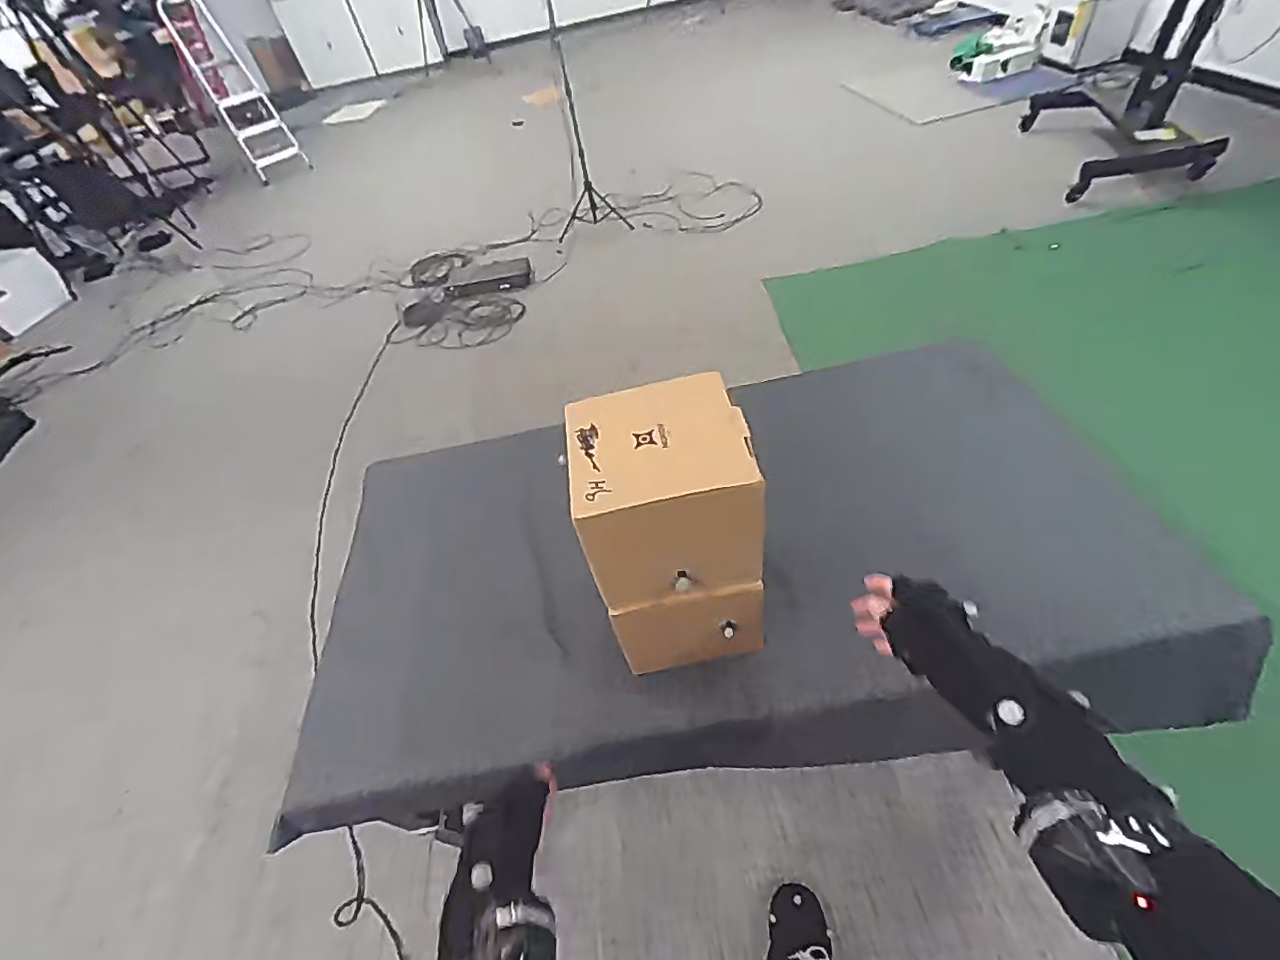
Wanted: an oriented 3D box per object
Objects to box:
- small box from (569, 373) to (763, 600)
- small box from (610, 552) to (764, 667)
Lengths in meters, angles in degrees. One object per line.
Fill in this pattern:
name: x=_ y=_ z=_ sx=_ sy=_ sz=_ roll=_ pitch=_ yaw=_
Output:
small box: x=0.027 y=0.011 z=0.596 sx=0.179 sy=0.176 sz=0.168 roll=-11 pitch=47 yaw=2
small box: x=0.055 y=0.124 z=0.711 sx=0.179 sy=0.176 sz=0.168 roll=-13 pitch=47 yaw=2
